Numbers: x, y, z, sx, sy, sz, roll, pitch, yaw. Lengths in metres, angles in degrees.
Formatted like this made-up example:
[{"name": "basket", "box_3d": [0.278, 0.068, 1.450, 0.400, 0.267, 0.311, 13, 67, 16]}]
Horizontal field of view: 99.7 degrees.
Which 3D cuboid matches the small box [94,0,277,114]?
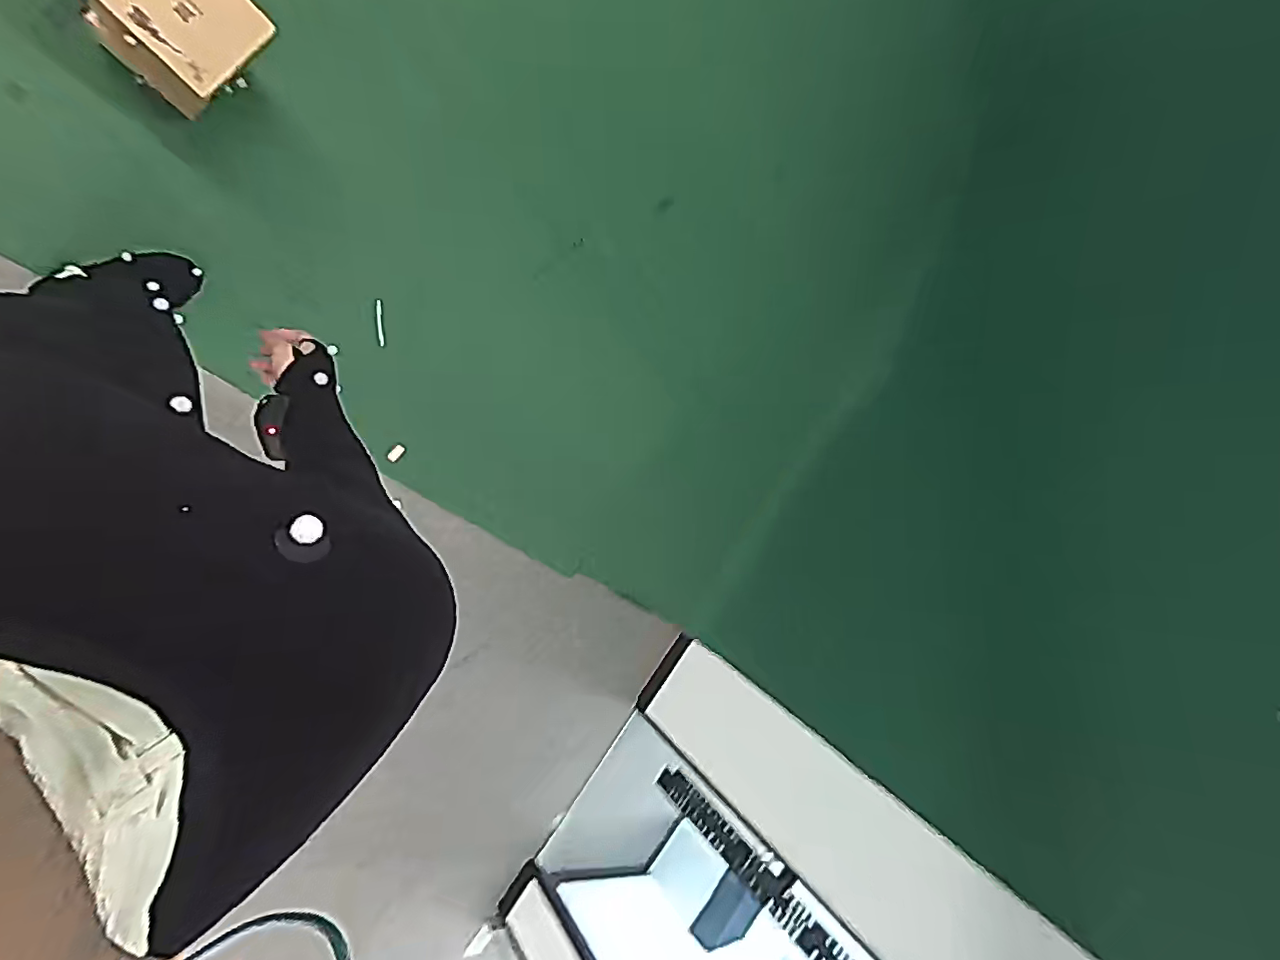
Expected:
[{"name": "small box", "box_3d": [-0.753, -0.750, 0.898, 0.179, 0.176, 0.168, -52, 135, -9]}]
